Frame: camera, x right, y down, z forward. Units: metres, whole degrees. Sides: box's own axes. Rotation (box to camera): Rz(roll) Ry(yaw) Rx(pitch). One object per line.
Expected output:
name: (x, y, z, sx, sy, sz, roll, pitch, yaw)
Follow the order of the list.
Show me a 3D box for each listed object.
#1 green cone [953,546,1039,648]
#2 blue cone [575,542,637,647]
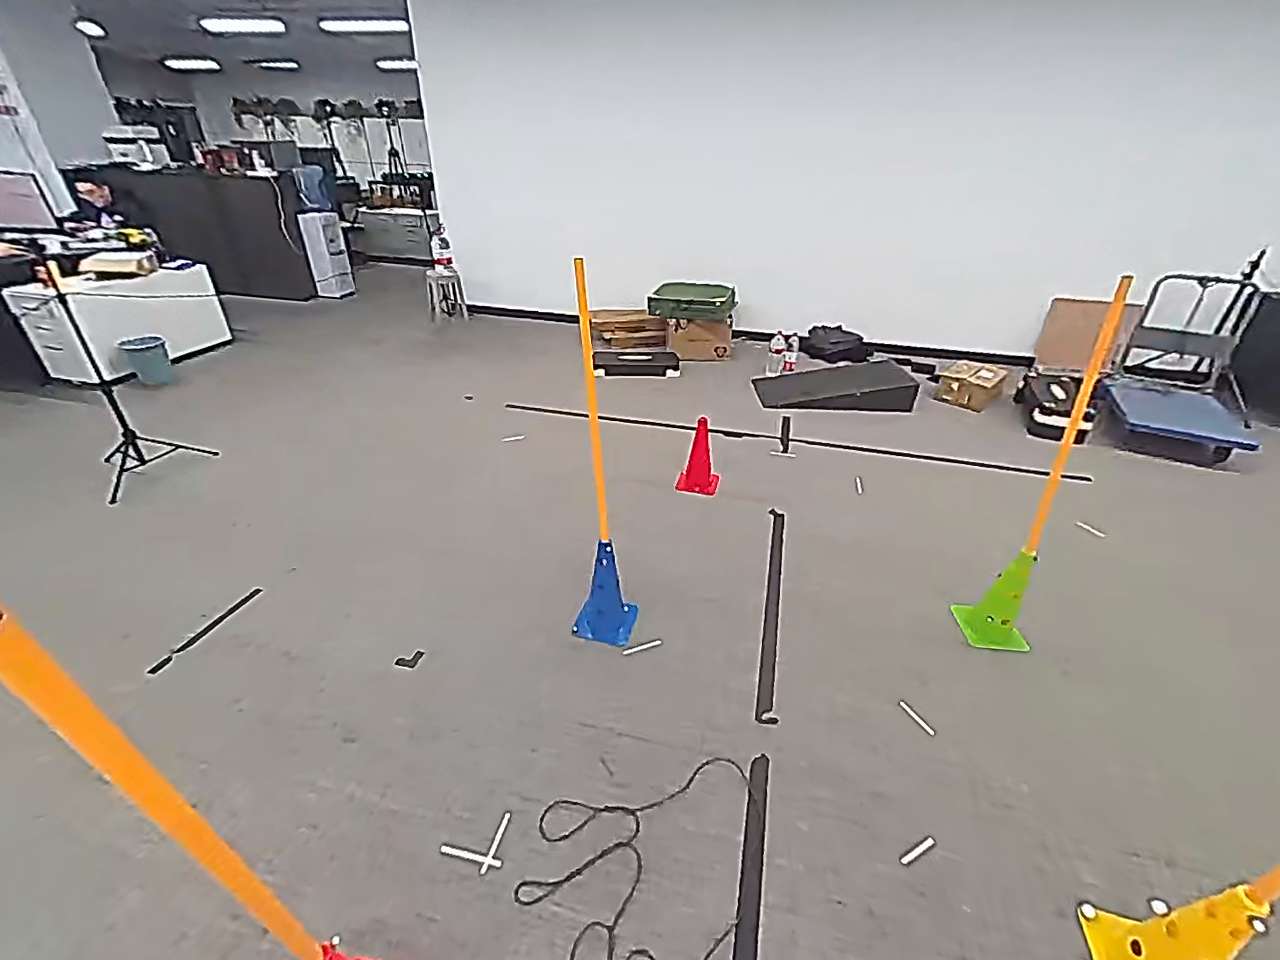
green cone: (1.251, 0.370, 1.836, 0.200, 0.368, 0.202, 3, 33, 3)
blue cone: (-0.113, 0.361, 1.820, 0.193, 0.380, 0.192, 10, 33, 14)
